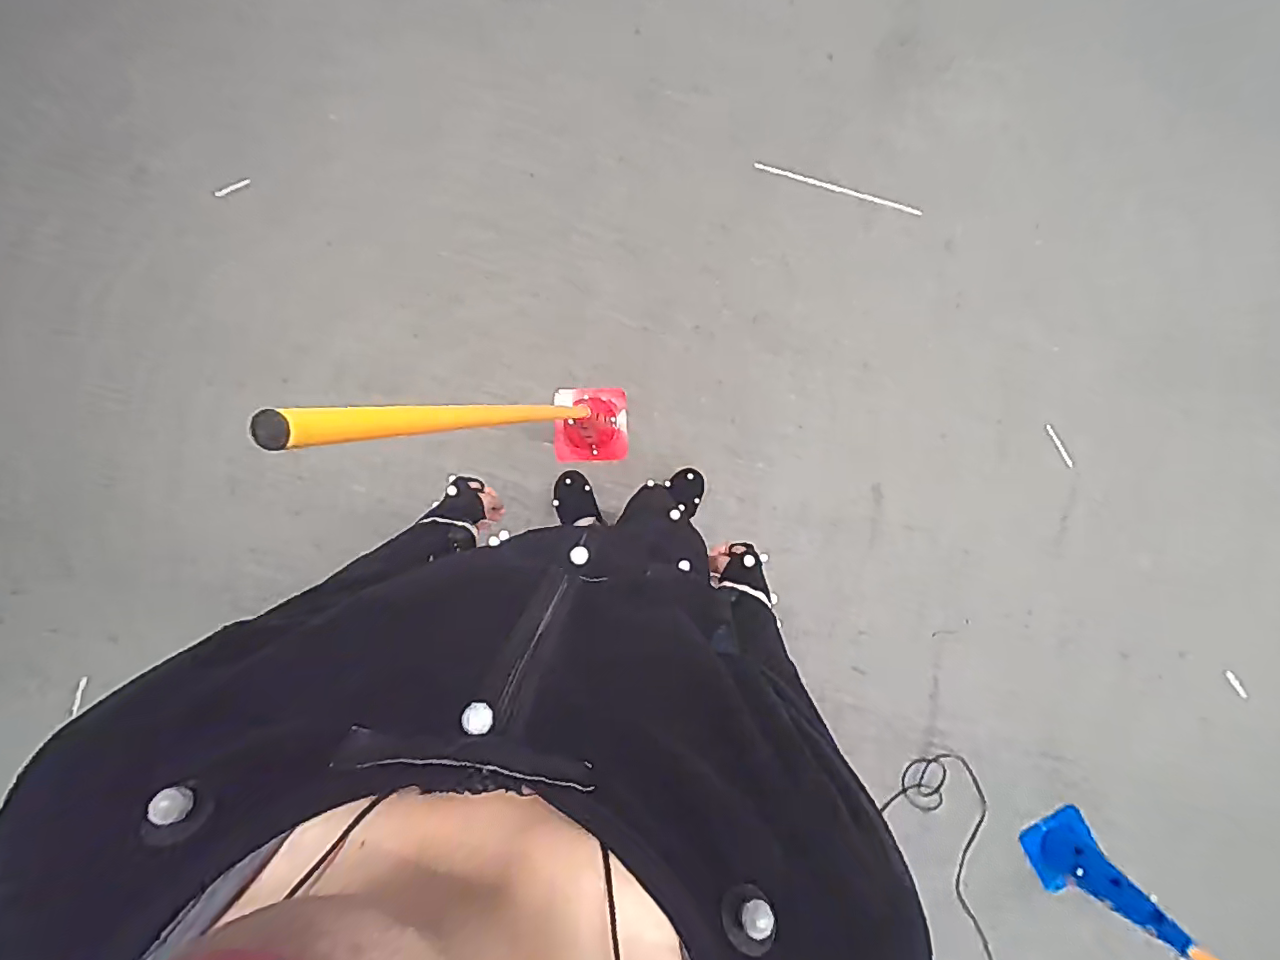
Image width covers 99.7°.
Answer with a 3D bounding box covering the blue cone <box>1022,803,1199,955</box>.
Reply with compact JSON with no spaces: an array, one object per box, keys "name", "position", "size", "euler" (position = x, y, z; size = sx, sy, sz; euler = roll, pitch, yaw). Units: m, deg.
[{"name":"blue cone","position":[1.226,1.048,1.401],"size":[0.193,0.380,0.192],"euler":[-31,91,-5]}]
